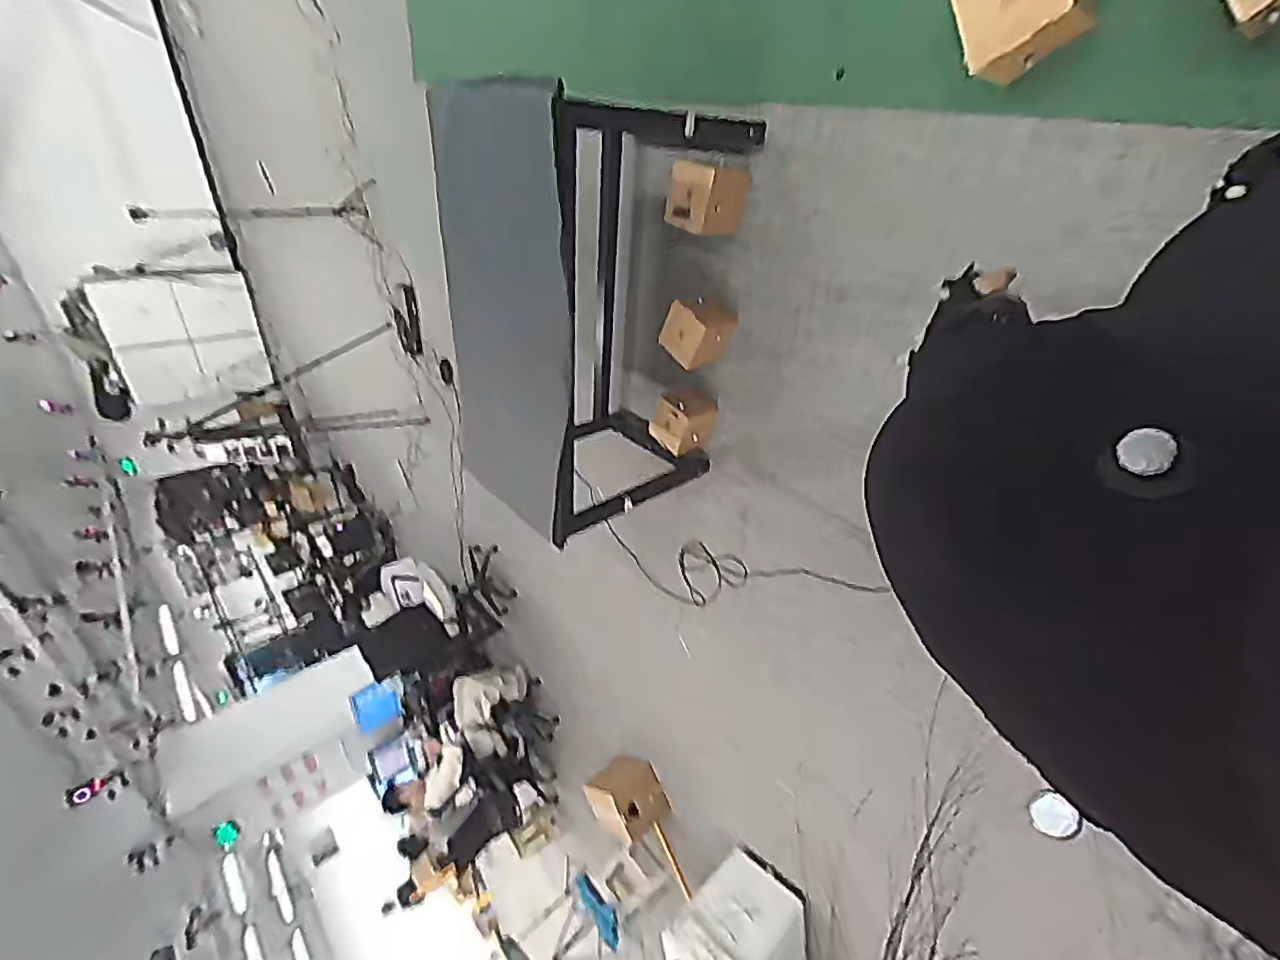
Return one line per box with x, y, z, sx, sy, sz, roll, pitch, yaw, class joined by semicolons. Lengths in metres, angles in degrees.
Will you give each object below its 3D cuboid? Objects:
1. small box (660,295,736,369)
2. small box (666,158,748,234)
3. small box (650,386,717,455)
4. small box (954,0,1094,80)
0.203;-0.514;1.856;0.168;0.176;0.179;50;141;22;small box
0.207;-0.870;1.659;0.168;0.176;0.179;38;134;32;small box
0.168;-0.230;2.051;0.168;0.176;0.179;43;138;28;small box
0.720;-0.900;1.018;0.168;0.176;0.179;-12;100;52;small box
